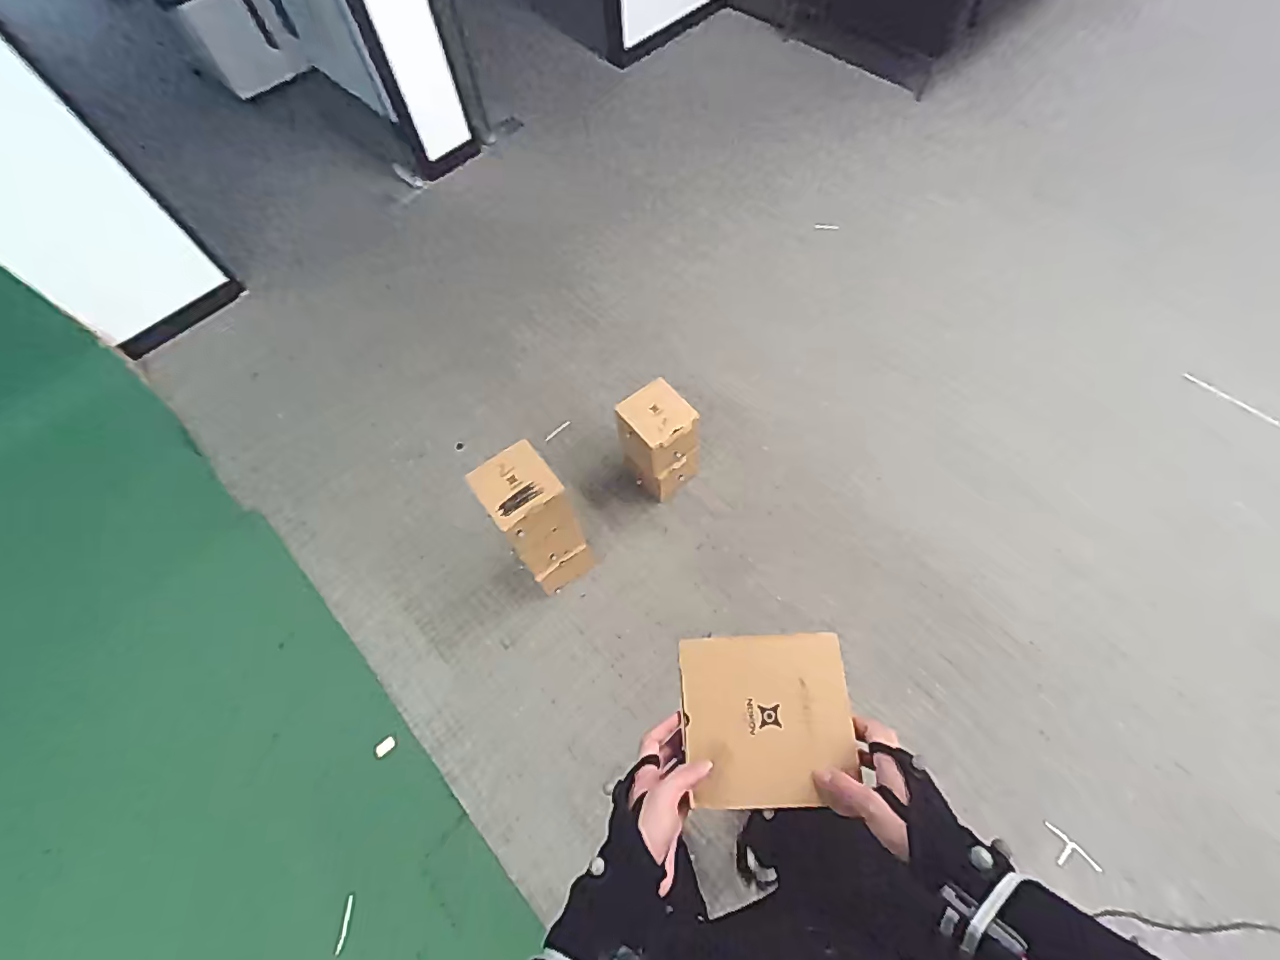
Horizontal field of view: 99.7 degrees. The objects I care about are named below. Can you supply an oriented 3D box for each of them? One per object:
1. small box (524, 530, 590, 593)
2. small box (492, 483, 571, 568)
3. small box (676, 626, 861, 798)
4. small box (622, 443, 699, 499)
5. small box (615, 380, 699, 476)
[{"bbox_3d":[-0.261,0.207,1.562,0.168,0.176,0.179,-36,66,-15],"label":"small box"},{"bbox_3d":[-0.282,0.125,1.431,0.179,0.176,0.168,-7,65,0],"label":"small box"},{"bbox_3d":[0.136,0.269,0.633,0.179,0.176,0.168,-3,66,4],"label":"small box"},{"bbox_3d":[0.063,-0.061,1.682,0.168,0.176,0.179,-38,68,-17],"label":"small box"},{"bbox_3d":[0.049,-0.142,1.539,0.168,0.176,0.179,-35,66,-13],"label":"small box"}]
